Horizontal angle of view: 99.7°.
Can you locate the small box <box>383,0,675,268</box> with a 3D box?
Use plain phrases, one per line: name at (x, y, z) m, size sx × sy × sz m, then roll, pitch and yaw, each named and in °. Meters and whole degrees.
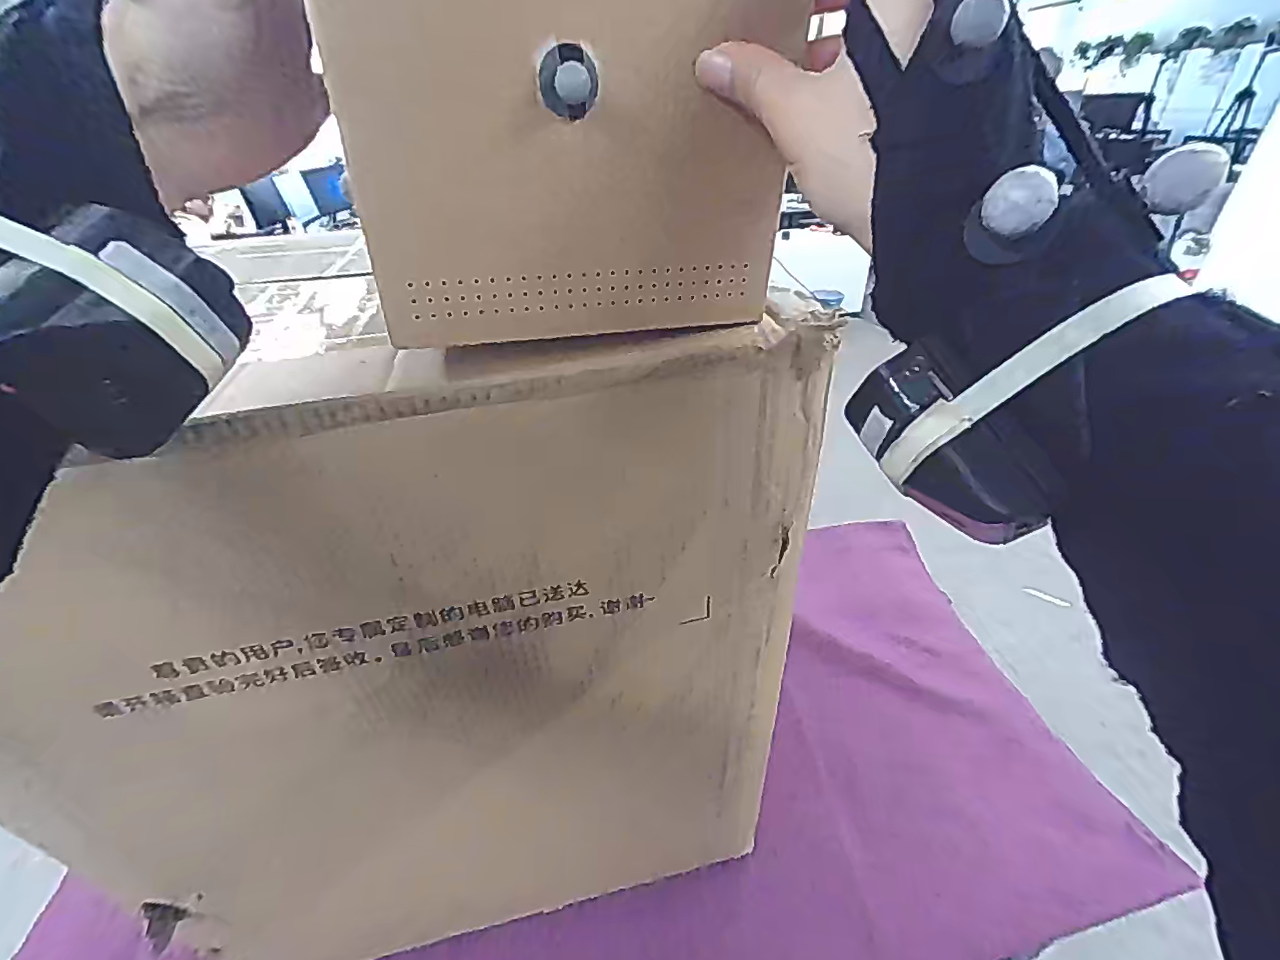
small box at (-0.076, -0.275, 0.430) m, size 0.179 × 0.176 × 0.168 m, roll -9°, pitch 34°, yaw -8°
